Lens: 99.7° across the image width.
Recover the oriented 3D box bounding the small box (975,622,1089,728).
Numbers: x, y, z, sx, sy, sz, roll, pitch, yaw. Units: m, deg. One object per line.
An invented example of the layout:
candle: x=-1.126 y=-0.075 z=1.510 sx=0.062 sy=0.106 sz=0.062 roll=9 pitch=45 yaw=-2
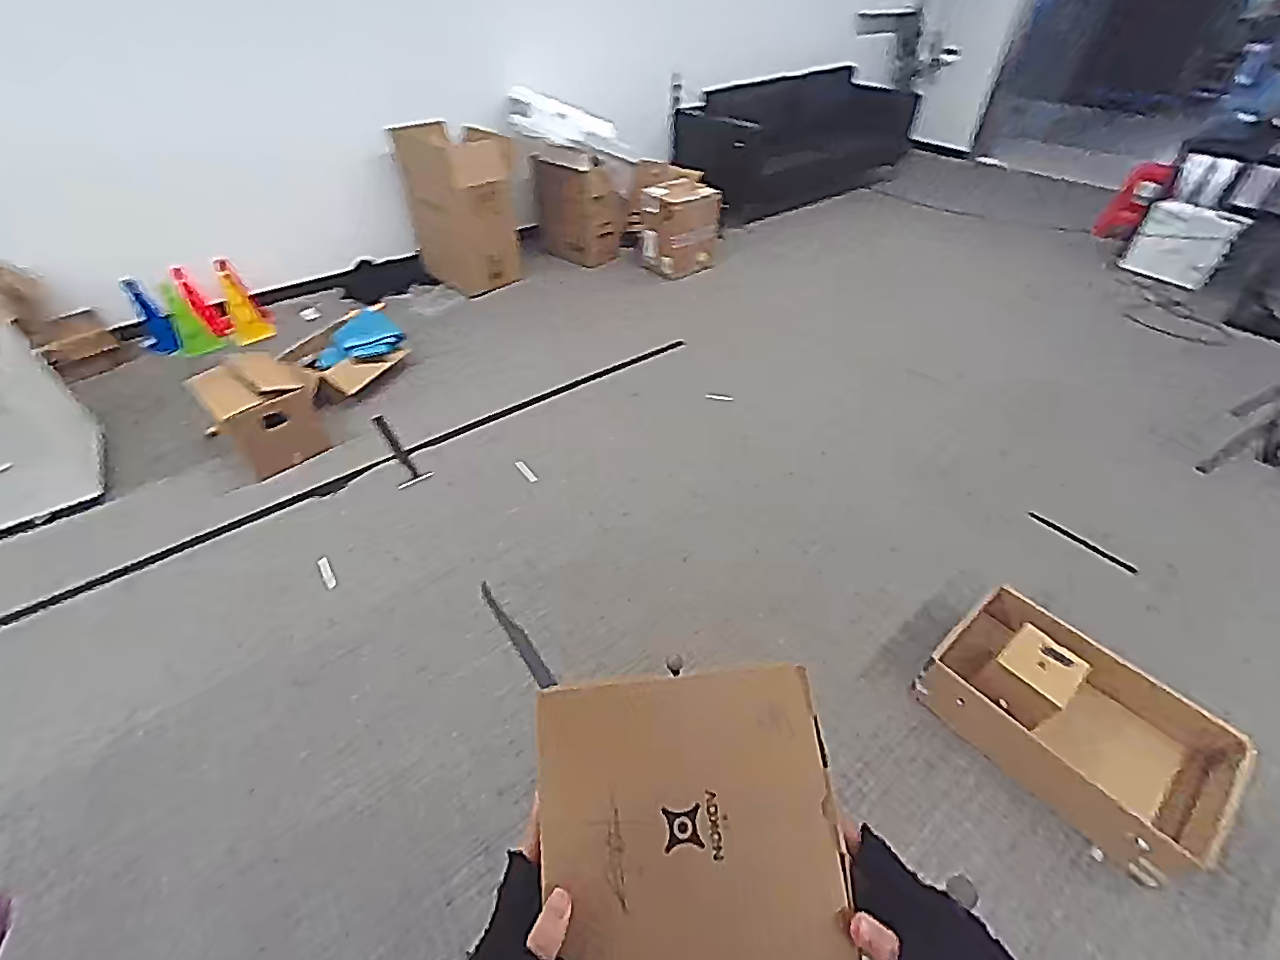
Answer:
small box: x=1.049 y=0.528 z=1.462 sx=0.179 sy=0.176 sz=0.168 roll=-30 pitch=52 yaw=-26

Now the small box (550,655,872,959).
small box: x=0.036 y=0.222 z=0.396 sx=0.179 sy=0.176 sz=0.168 roll=-6 pitch=69 yaw=-1
